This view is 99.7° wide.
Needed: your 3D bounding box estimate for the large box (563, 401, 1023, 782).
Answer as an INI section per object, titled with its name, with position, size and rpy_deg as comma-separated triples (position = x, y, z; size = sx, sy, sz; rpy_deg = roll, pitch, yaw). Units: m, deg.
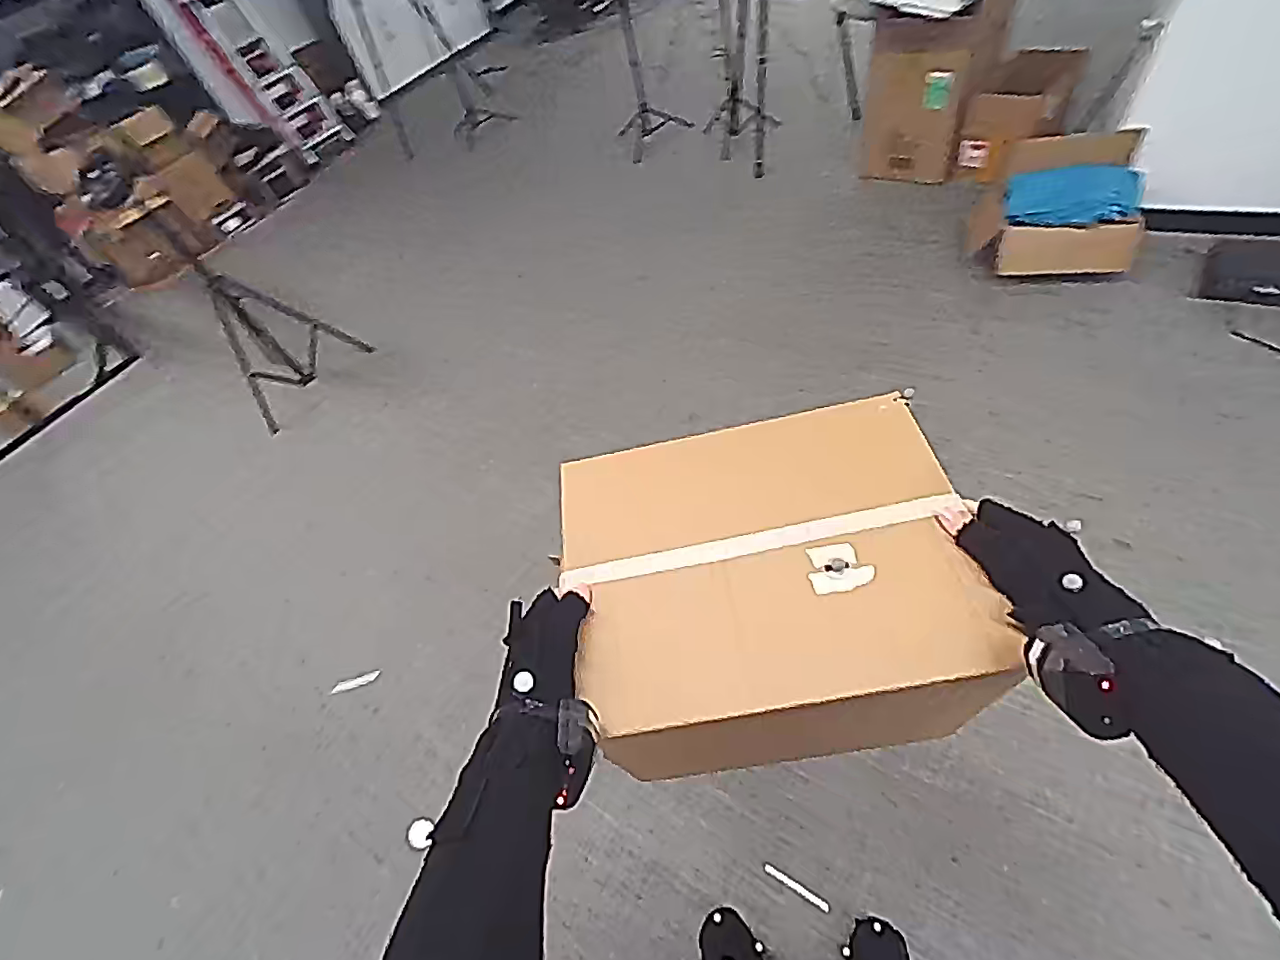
[large box]
position = 0.143, 0.155, 0.681
size = 0.408, 0.320, 0.320
rpy_deg = -12, 54, 4
